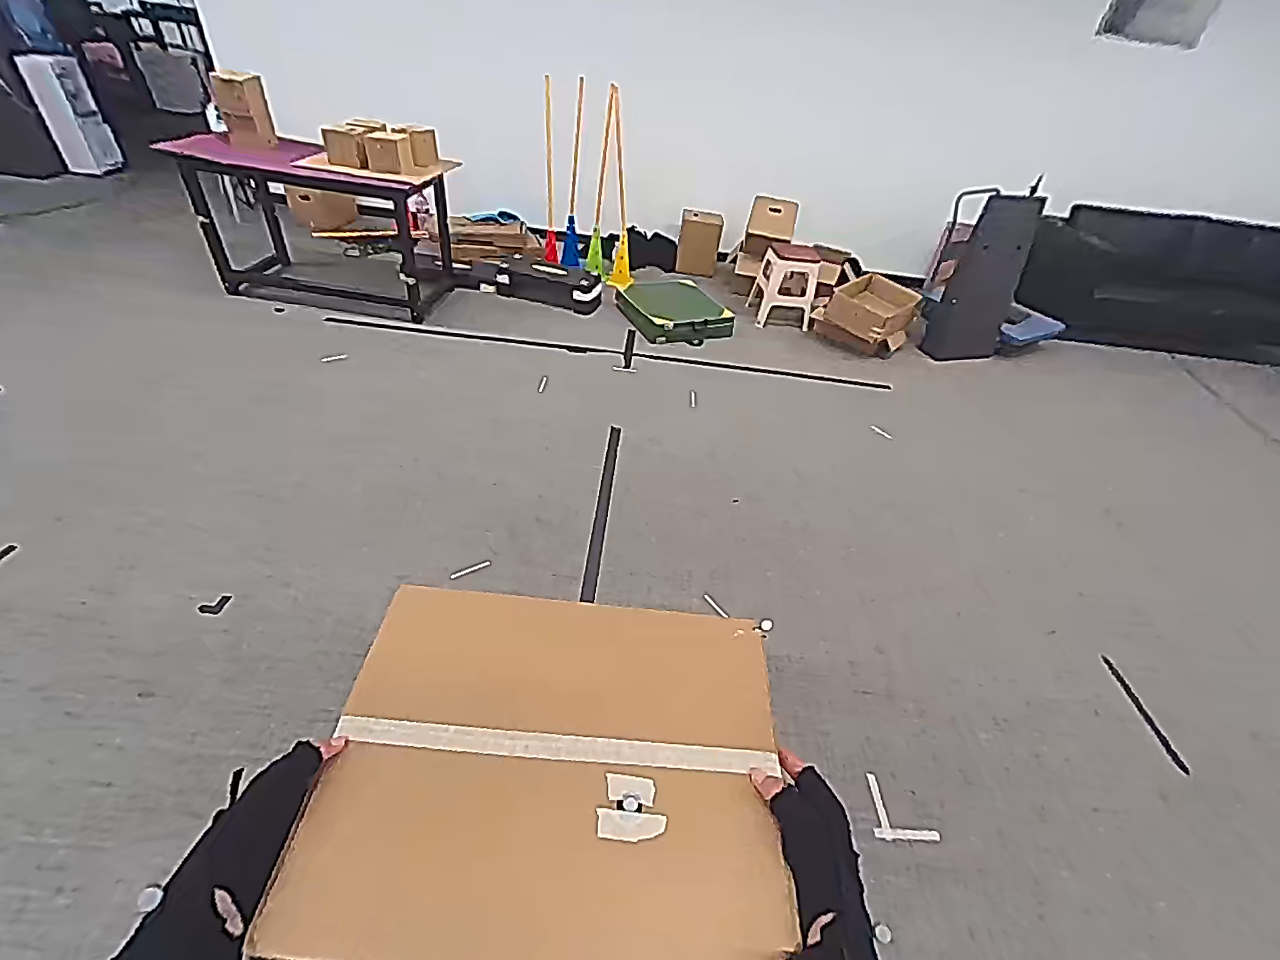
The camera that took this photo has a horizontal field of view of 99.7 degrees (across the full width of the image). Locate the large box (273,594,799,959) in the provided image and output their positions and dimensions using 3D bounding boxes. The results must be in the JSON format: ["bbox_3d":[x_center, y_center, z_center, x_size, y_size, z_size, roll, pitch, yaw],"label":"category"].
[{"bbox_3d":[-0.085,0.360,0.611,0.408,0.320,0.320,7,45,-2],"label":"large box"}]
